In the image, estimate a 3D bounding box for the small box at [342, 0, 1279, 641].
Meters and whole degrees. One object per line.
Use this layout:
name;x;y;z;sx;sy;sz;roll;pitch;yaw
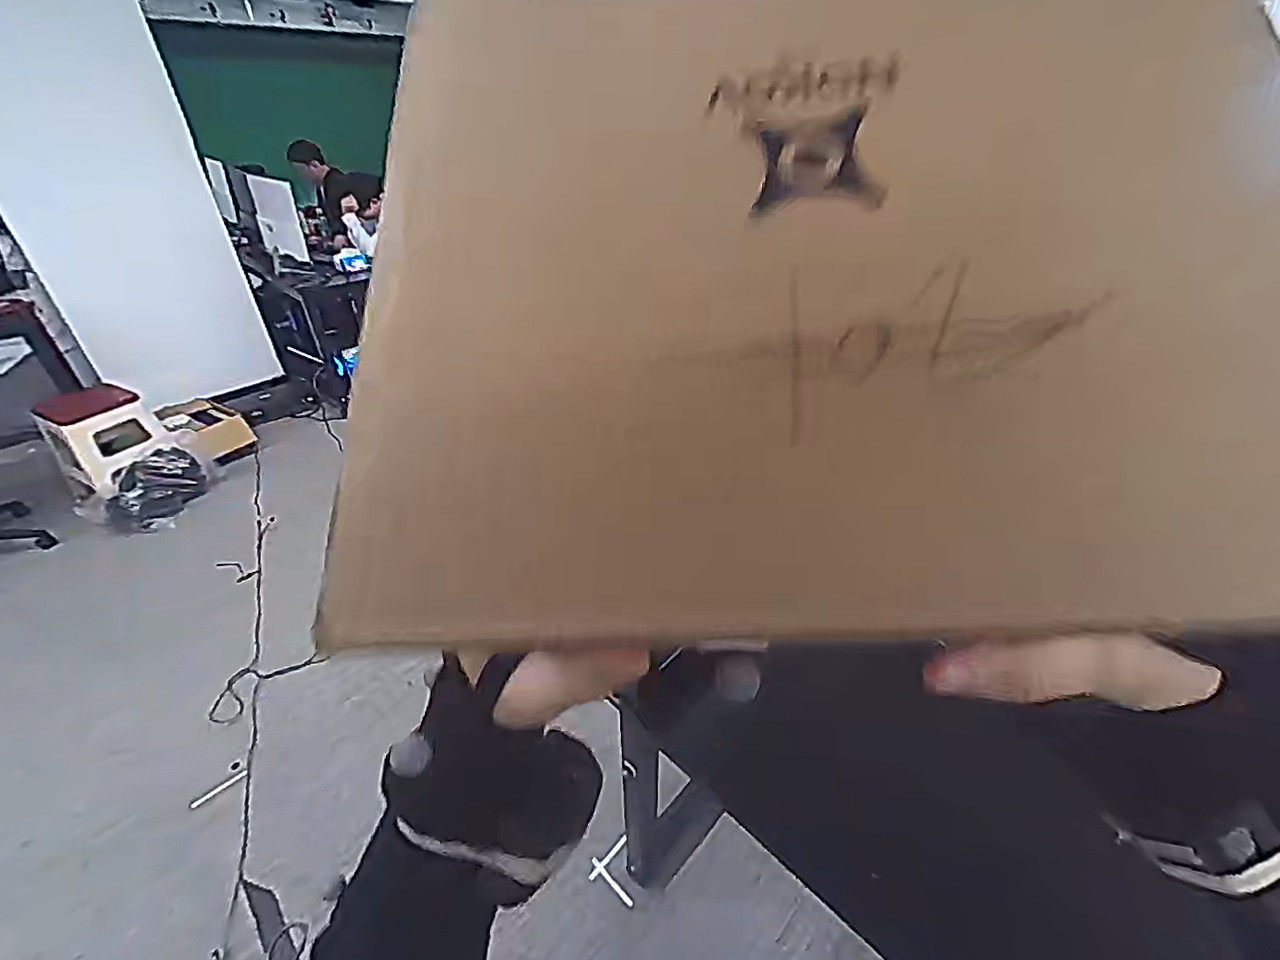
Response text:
small box;0.043;-0.042;0.175;0.168;0.176;0.179;-4;73;6
